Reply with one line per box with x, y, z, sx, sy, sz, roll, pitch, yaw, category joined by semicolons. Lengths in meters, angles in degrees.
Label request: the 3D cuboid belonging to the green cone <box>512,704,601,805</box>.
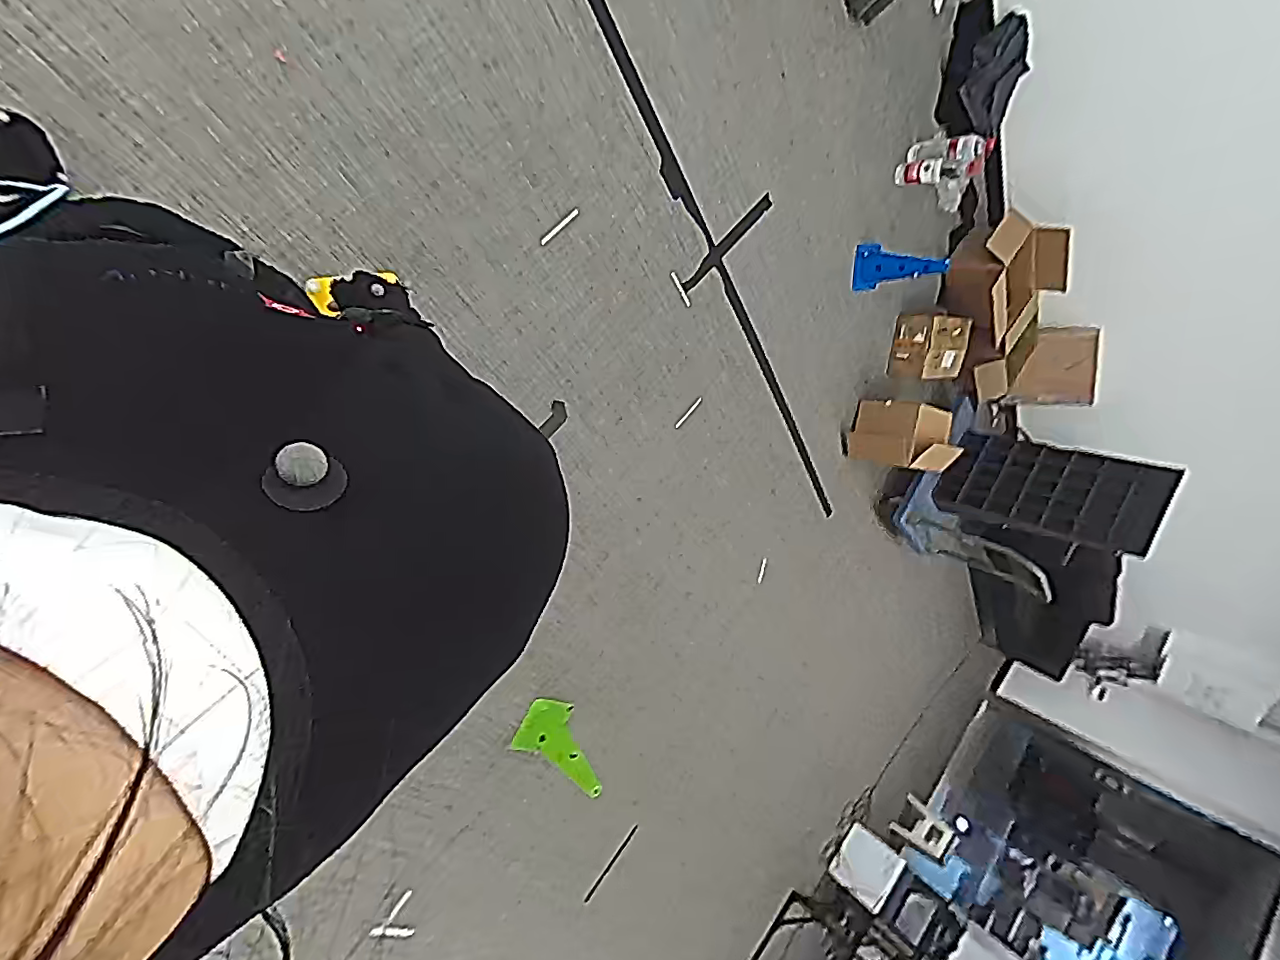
-0.248;0.964;1.855;0.200;0.368;0.202;32;85;-42;green cone
